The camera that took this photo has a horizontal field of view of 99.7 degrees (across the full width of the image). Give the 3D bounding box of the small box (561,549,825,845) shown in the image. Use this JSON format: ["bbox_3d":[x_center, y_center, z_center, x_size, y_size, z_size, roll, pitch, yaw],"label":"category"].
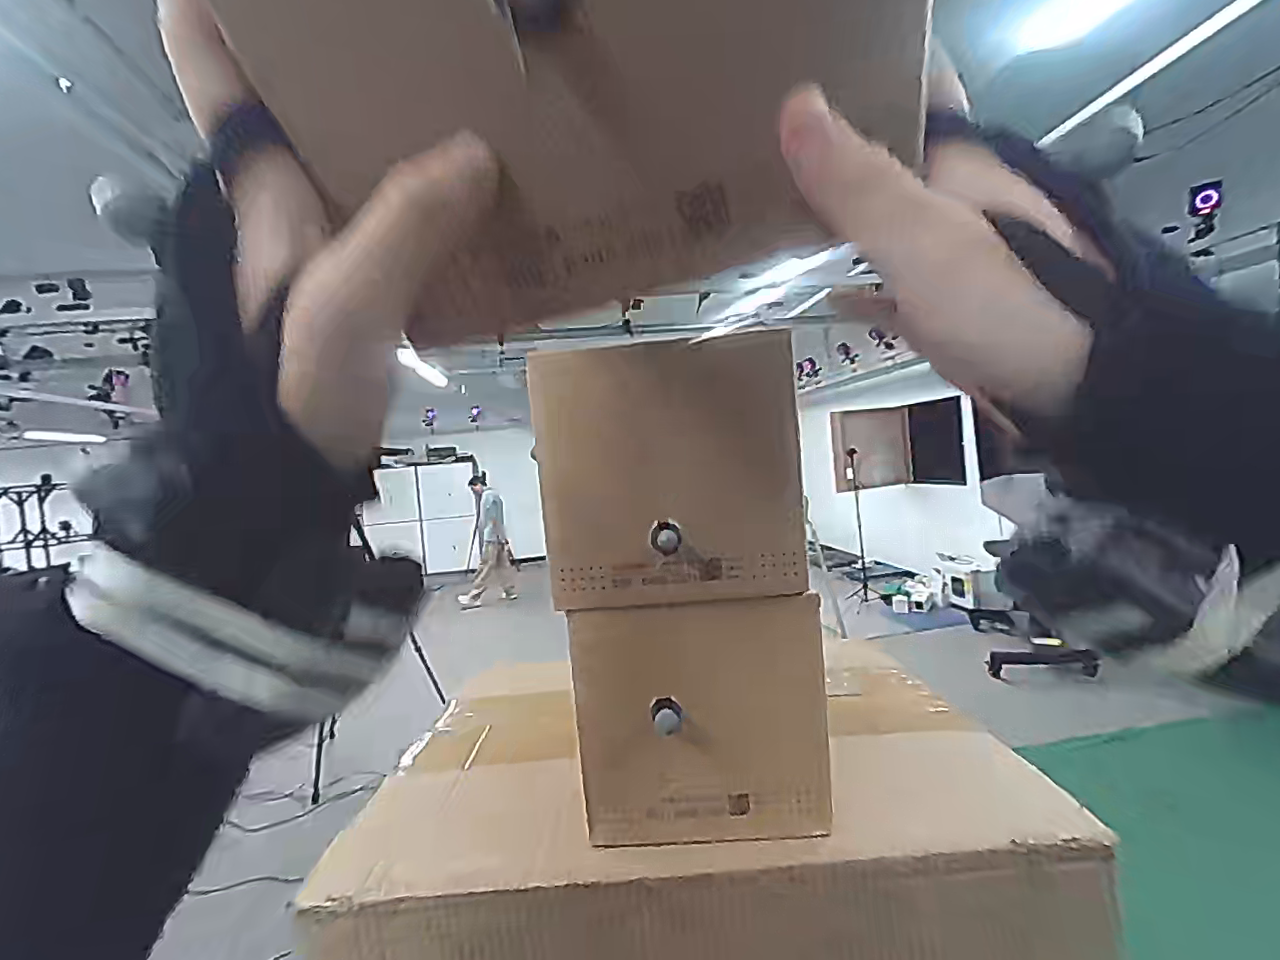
[{"bbox_3d":[0.042,0.161,0.436,0.168,0.176,0.179,-5,4,3],"label":"small box"}]

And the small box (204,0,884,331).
[{"bbox_3d":[-0.022,-0.168,0.191,0.168,0.176,0.179,-11,39,10],"label":"small box"}]
